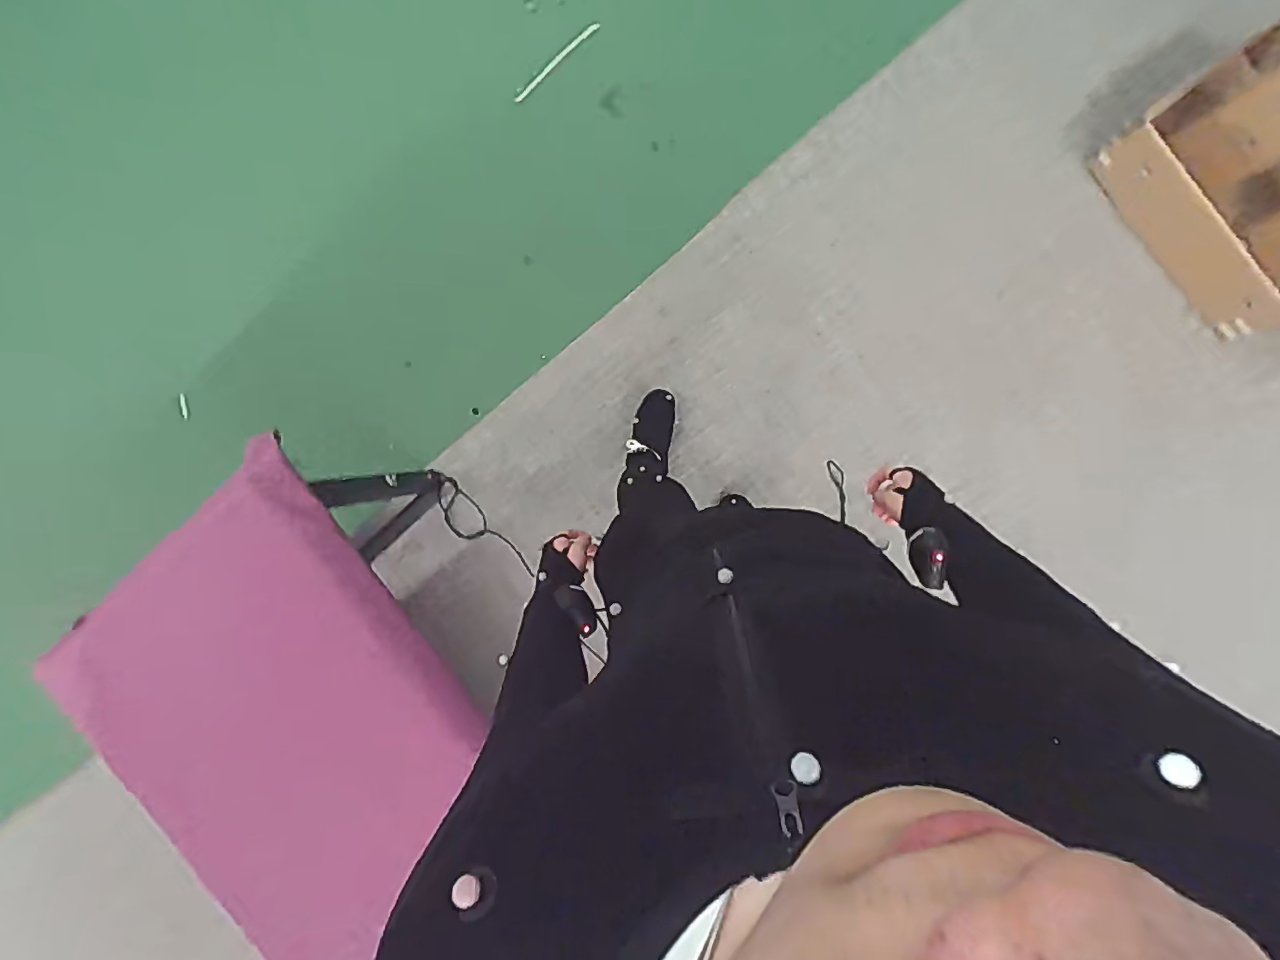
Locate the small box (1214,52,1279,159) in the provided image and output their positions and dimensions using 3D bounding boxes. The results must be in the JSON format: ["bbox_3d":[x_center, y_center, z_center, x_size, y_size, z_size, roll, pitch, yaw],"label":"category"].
[{"bbox_3d":[1.396,-0.828,1.131,0.179,0.176,0.168,-41,88,6],"label":"small box"}]
